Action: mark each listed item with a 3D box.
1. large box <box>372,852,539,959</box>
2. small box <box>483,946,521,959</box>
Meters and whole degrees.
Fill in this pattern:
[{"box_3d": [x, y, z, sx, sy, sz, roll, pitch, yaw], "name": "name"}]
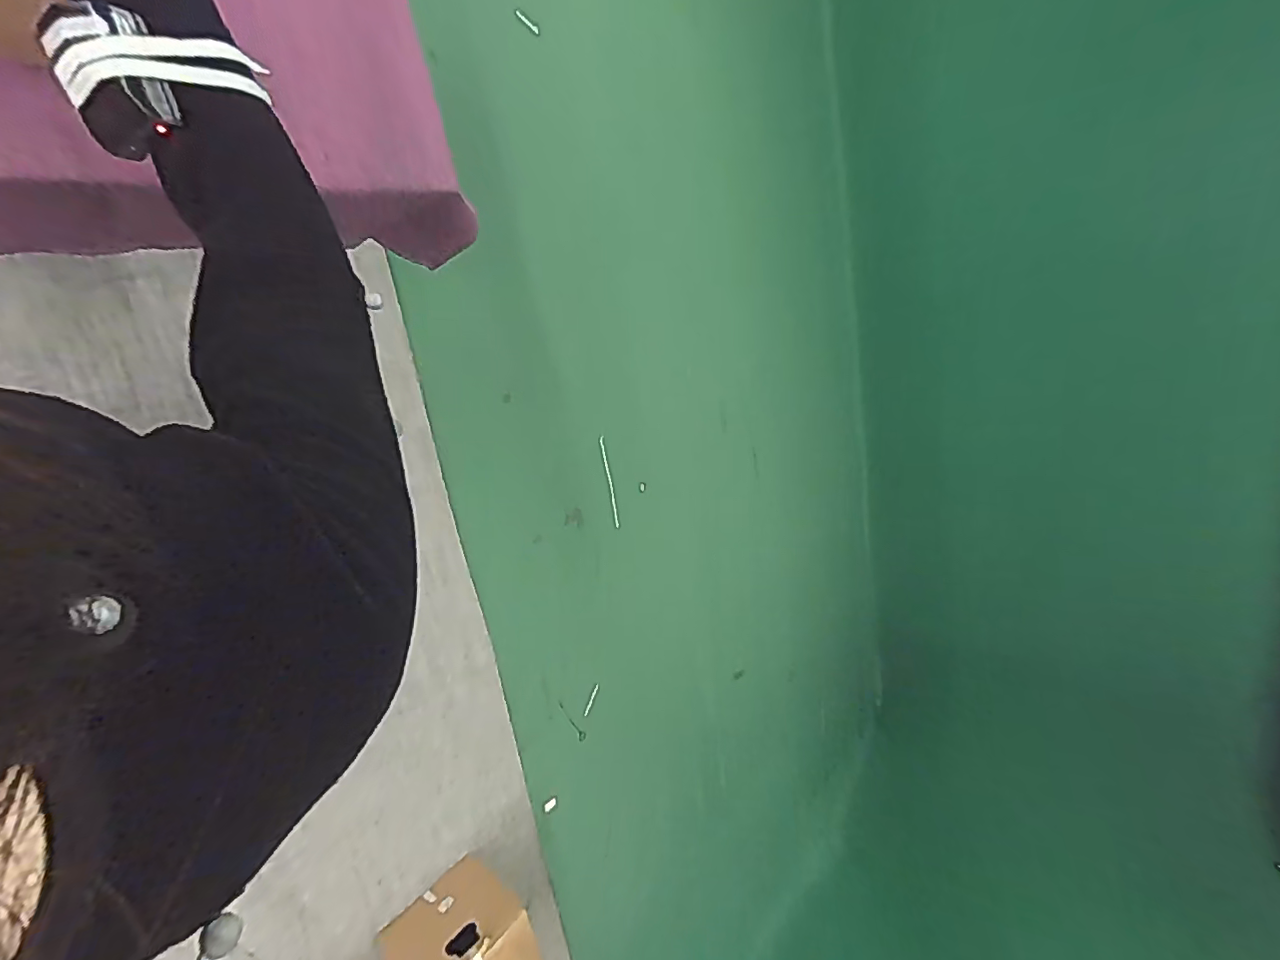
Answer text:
[{"box_3d": [-0.514, 1.418, 1.575, 0.320, 0.320, 0.408, -25, 111, -44], "name": "large box"}, {"box_3d": [-0.359, 1.350, 1.377, 0.168, 0.176, 0.179, -20, 108, -44], "name": "small box"}]
